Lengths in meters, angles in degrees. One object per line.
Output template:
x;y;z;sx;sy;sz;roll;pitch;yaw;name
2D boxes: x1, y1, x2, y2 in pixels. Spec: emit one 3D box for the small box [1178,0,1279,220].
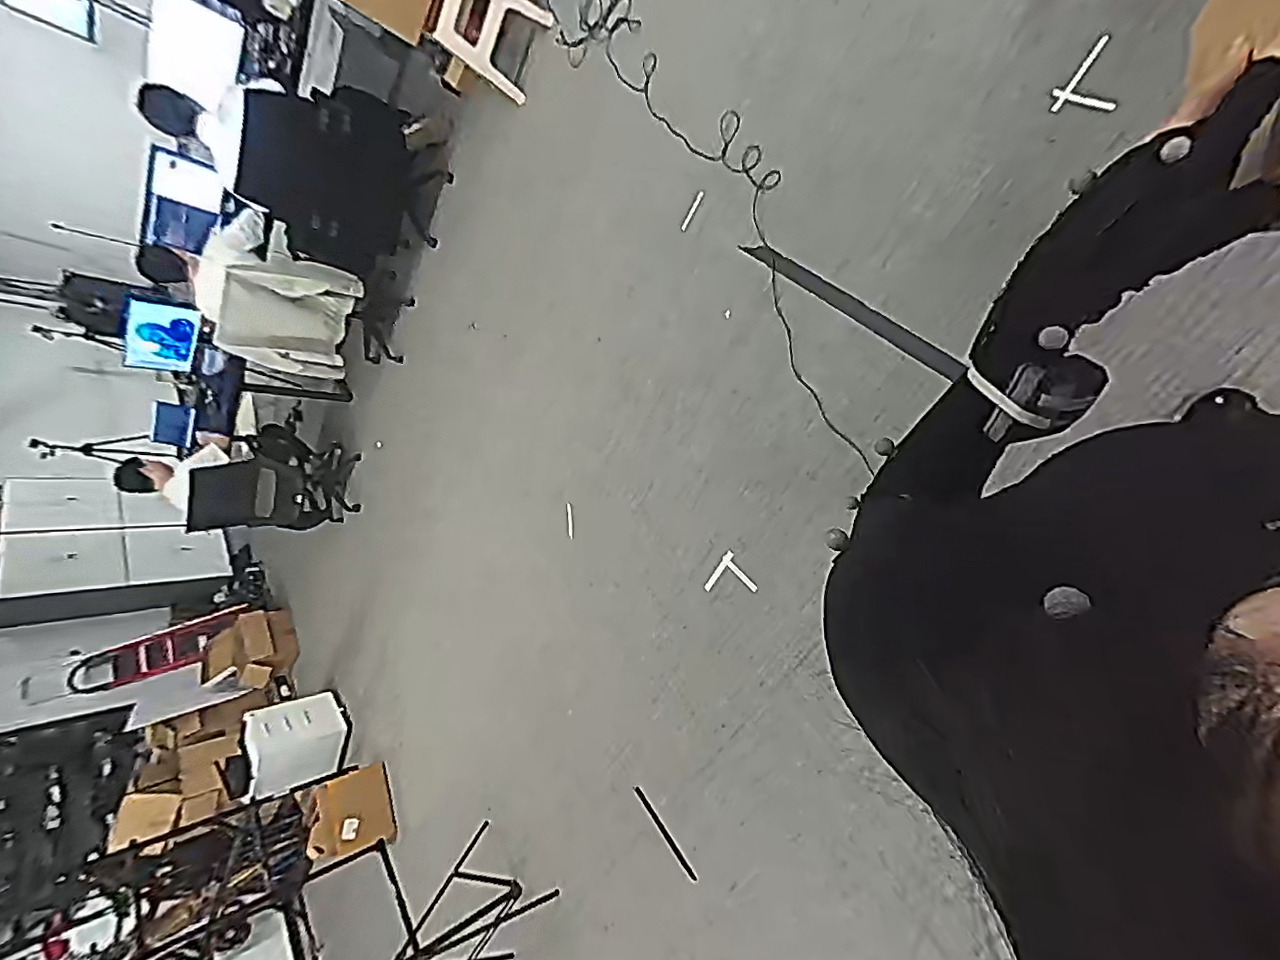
0.447;-0.262;0.288;0.179;0.176;0.168;3;95;26;small box
